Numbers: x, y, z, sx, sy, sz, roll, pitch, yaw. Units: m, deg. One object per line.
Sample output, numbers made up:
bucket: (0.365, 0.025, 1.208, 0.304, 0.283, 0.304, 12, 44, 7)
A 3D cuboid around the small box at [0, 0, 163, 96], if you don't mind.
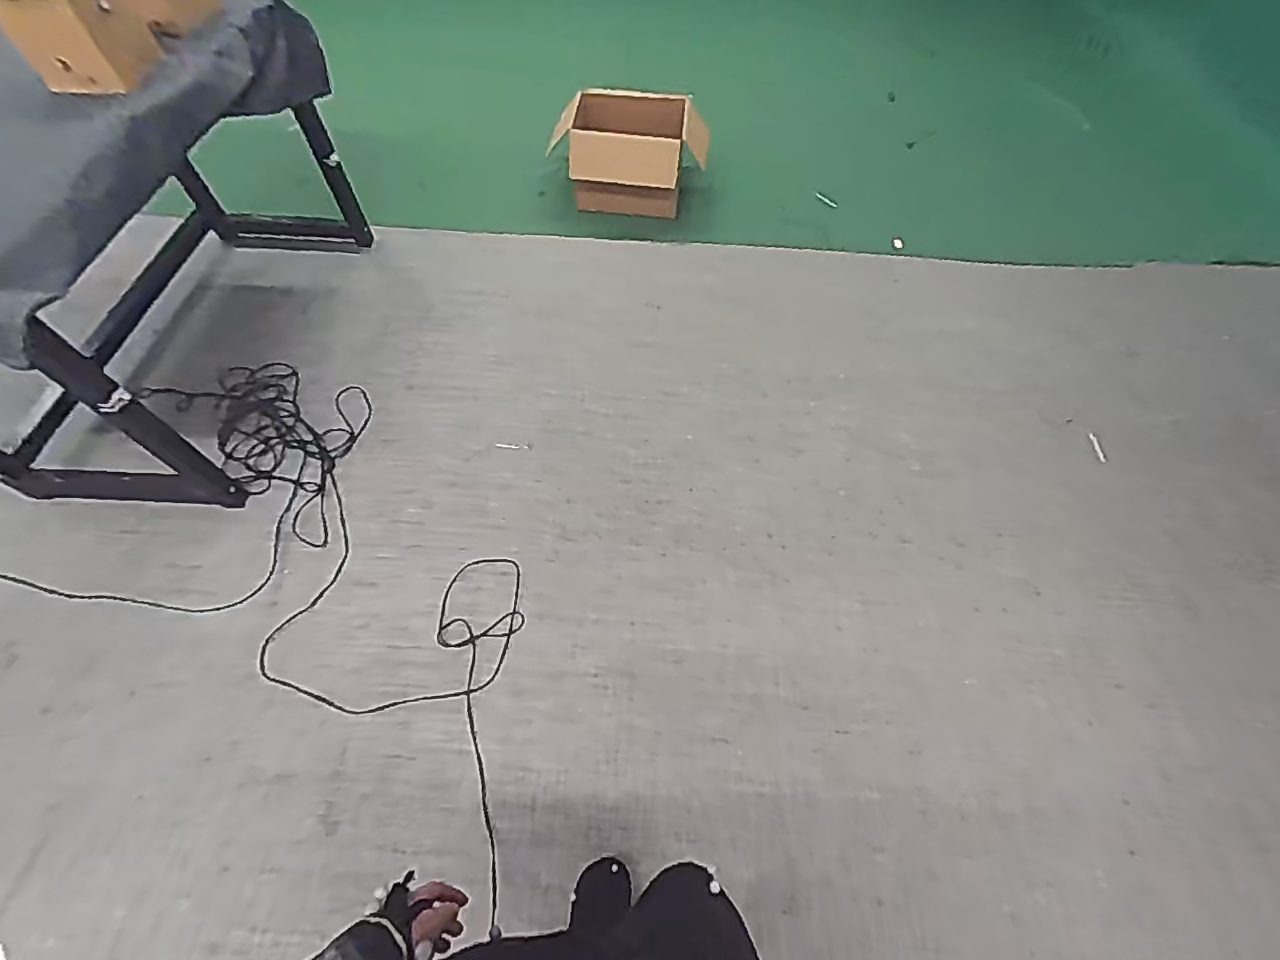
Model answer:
small box: (-1.165, -0.941, 1.132, 0.168, 0.176, 0.179, 1, 59, -1)
